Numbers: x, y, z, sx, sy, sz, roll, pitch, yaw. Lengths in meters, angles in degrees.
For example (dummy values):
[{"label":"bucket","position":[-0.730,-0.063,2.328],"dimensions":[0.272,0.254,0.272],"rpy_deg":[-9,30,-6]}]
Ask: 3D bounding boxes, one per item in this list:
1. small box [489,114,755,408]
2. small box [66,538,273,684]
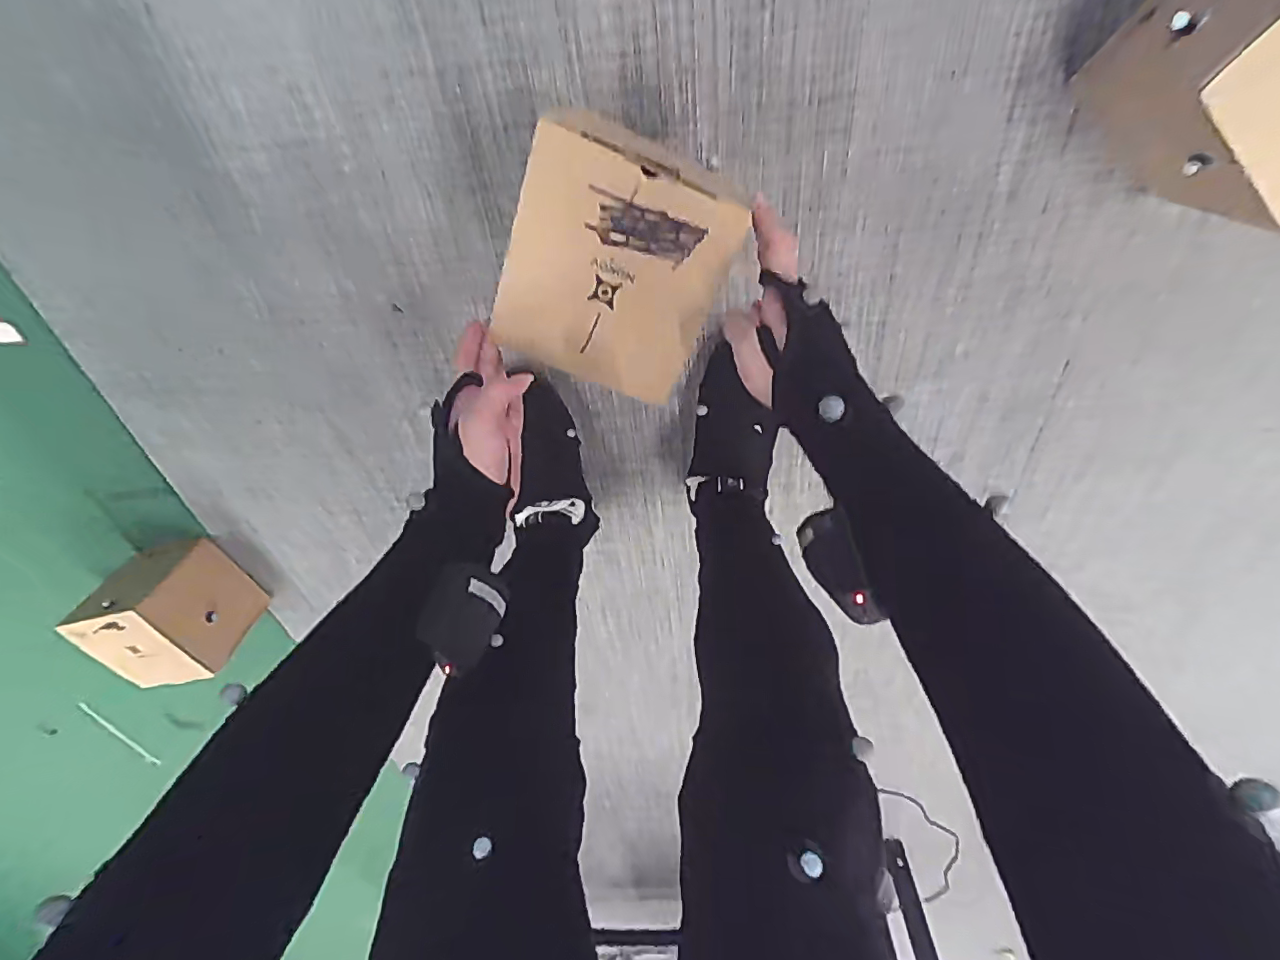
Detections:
[{"label":"small box","position":[-0.018,-0.202,0.490],"dimensions":[0.168,0.176,0.179],"rpy_deg":[20,126,-10]},{"label":"small box","position":[-0.799,0.228,0.944],"dimensions":[0.168,0.176,0.179],"rpy_deg":[-12,126,12]}]
